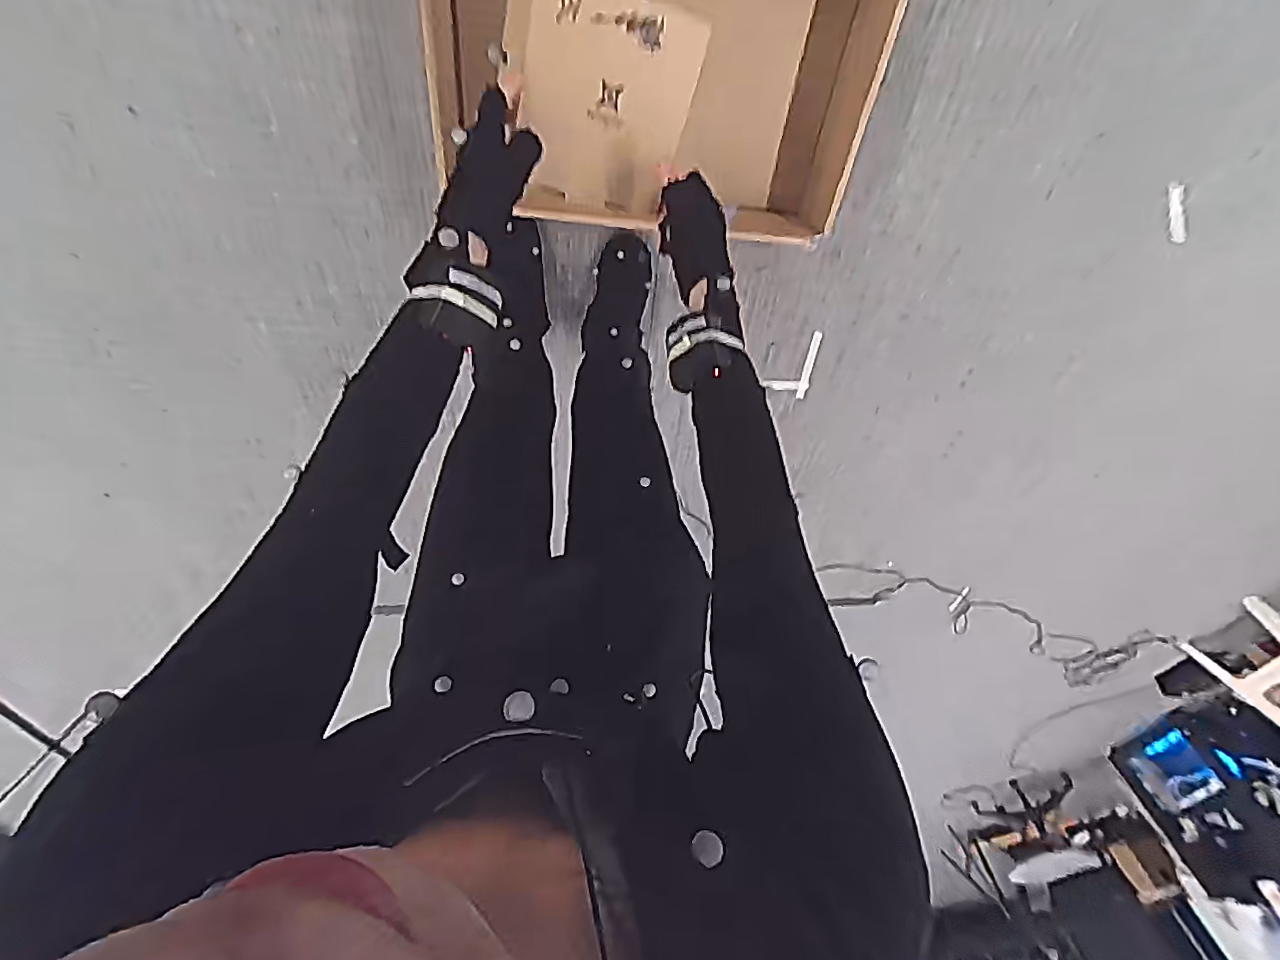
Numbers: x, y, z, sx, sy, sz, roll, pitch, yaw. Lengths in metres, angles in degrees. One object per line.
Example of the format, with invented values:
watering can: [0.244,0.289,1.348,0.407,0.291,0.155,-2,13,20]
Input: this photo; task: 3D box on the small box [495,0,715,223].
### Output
small box: [-0.052,-0.402,0.559,0.168,0.176,0.179,3,132,-25]
